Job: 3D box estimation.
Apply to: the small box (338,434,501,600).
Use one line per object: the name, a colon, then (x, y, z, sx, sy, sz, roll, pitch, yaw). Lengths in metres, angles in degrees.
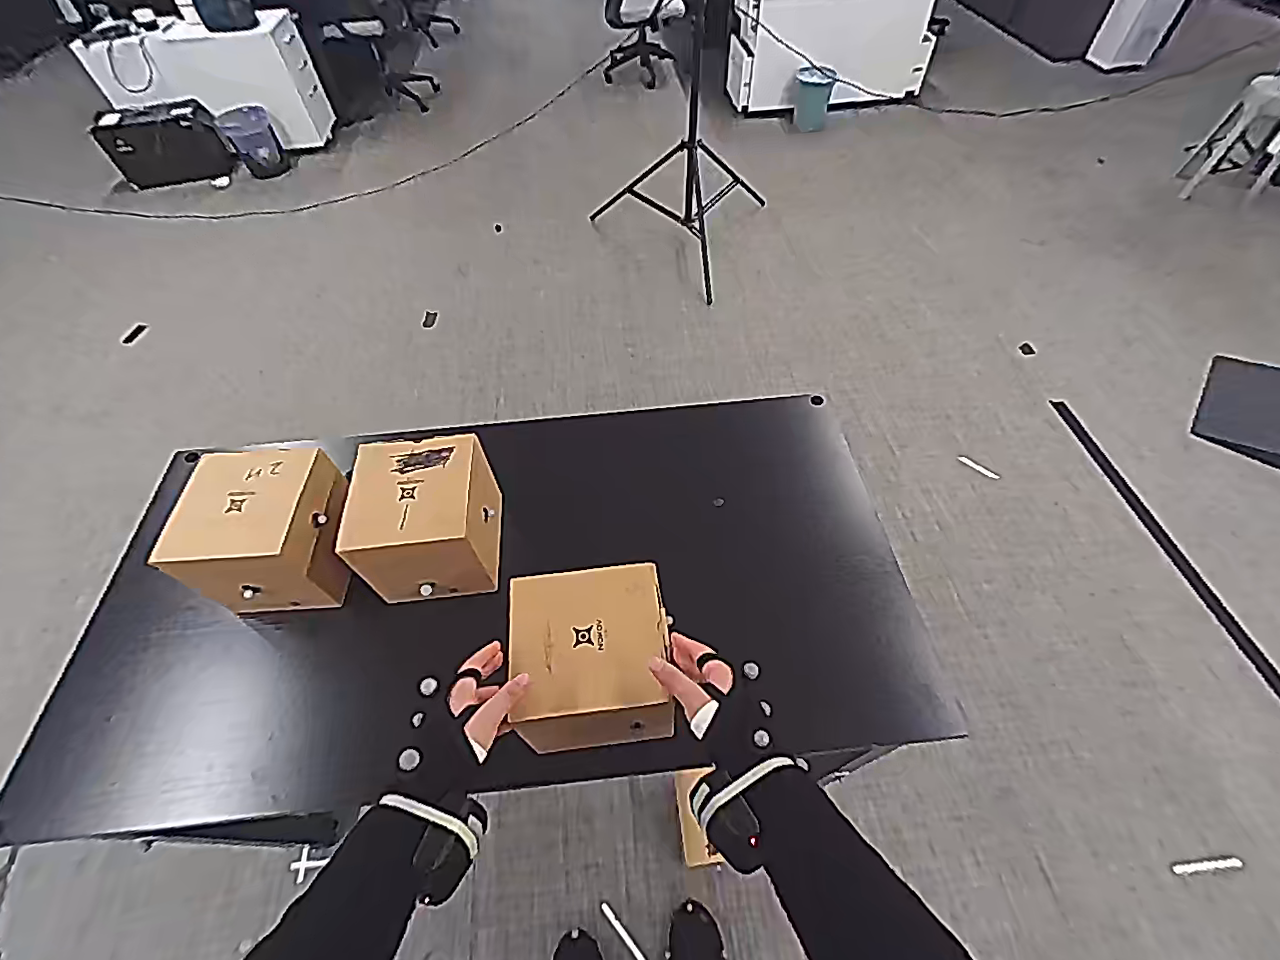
small box: (-0.306, 0.056, 0.794, 0.168, 0.176, 0.179, -6, 55, -2)

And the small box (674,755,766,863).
small box: (0.166, 0.726, 1.189, 0.168, 0.176, 0.179, -7, 54, -2)

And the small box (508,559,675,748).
small box: (-0.056, 0.218, 0.668, 0.179, 0.176, 0.168, -8, 53, -2)

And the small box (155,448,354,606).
small box: (-0.530, 0.076, 0.789, 0.168, 0.176, 0.179, -3, 54, -1)
